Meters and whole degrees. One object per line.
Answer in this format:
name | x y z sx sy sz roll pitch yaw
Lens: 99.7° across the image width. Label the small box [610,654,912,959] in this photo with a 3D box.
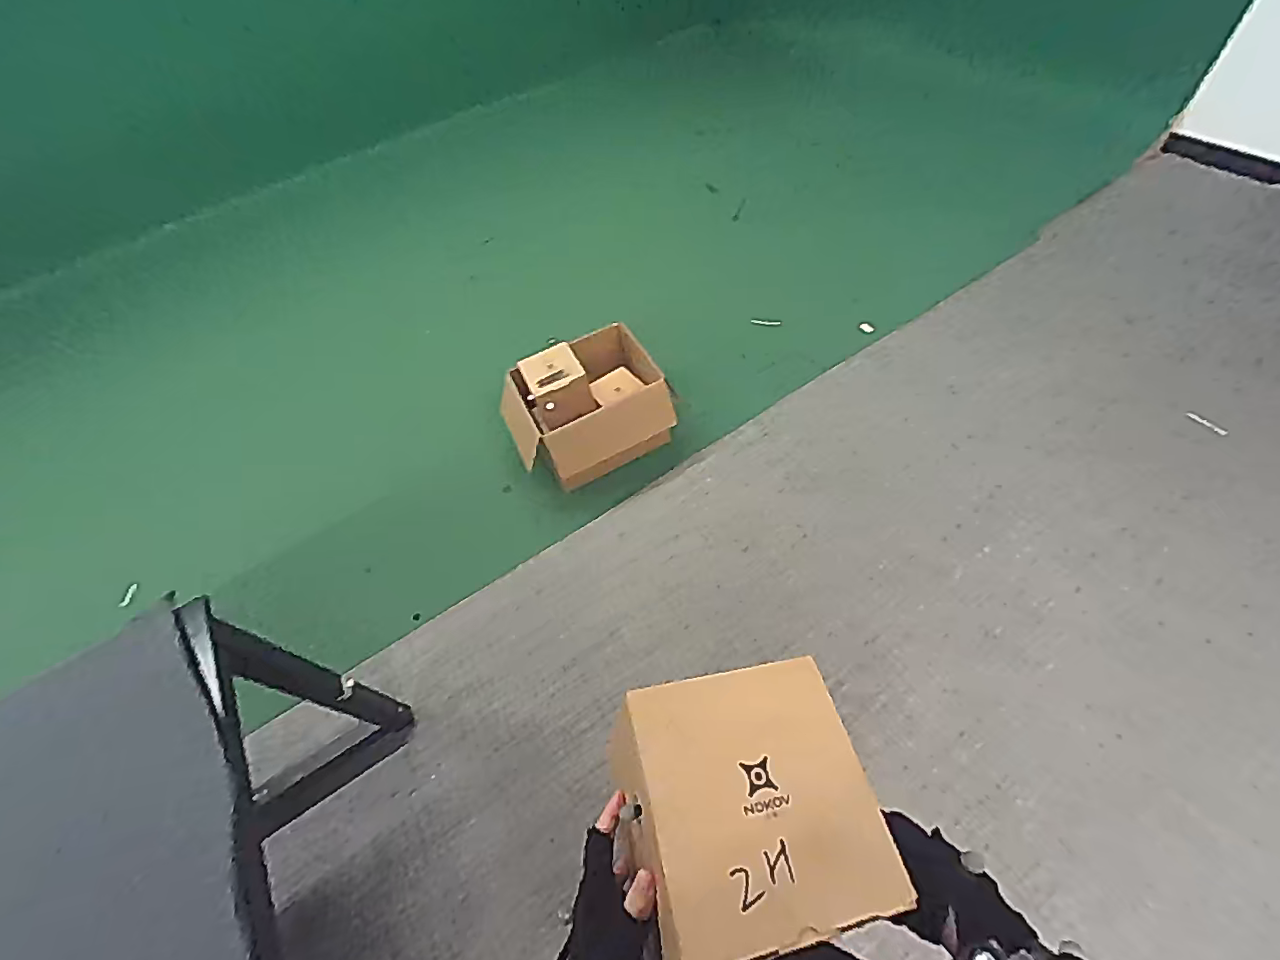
small box | 0.074 0.271 0.450 0.168 0.176 0.179 -5 52 -13
